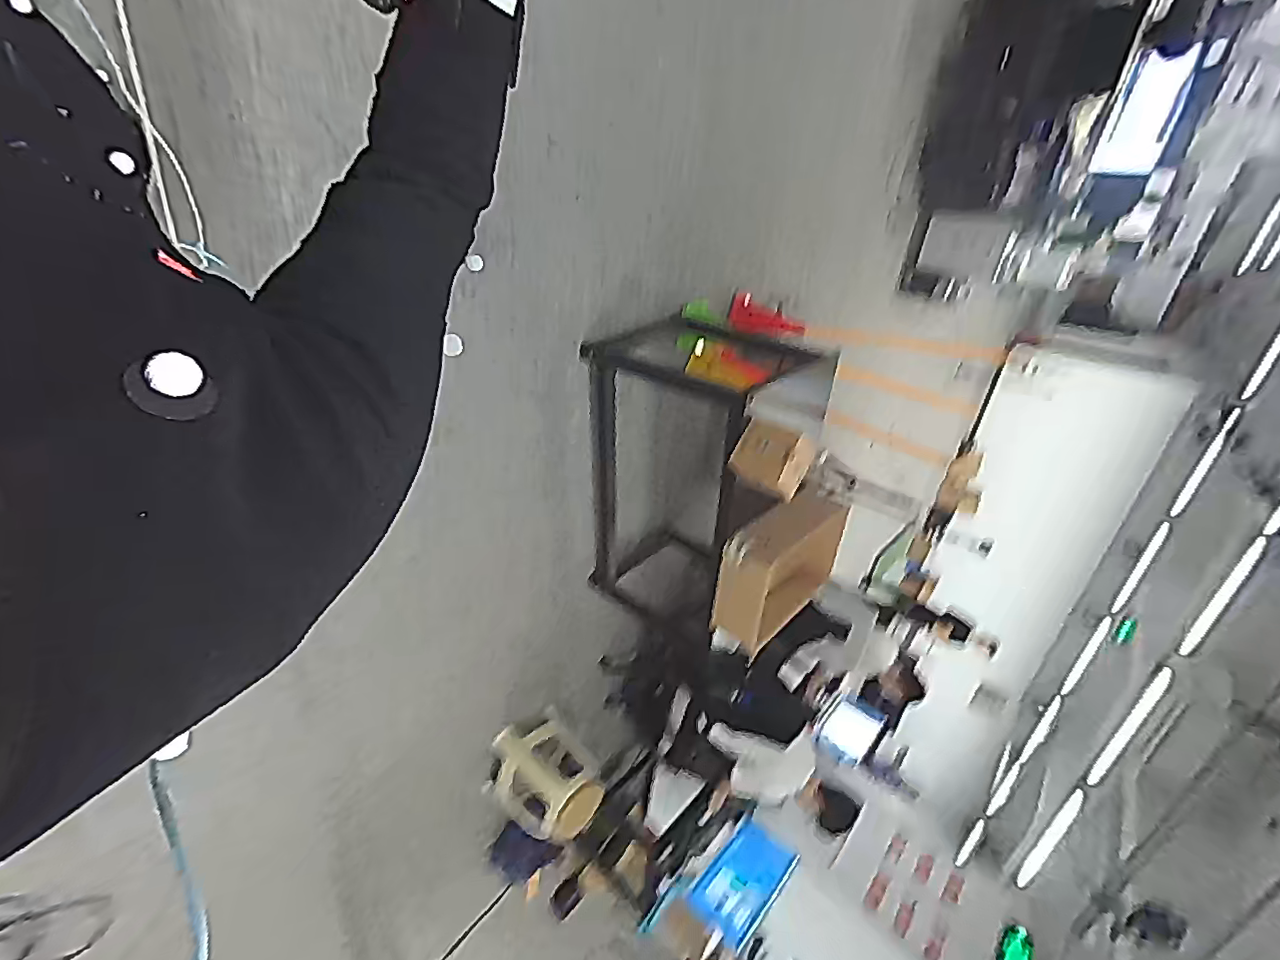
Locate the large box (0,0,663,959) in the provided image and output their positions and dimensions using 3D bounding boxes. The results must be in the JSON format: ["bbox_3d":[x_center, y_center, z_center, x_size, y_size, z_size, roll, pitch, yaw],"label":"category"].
[{"bbox_3d":[-0.217,-0.002,0.301,0.320,0.320,0.408,22,66,-24],"label":"large box"}]
